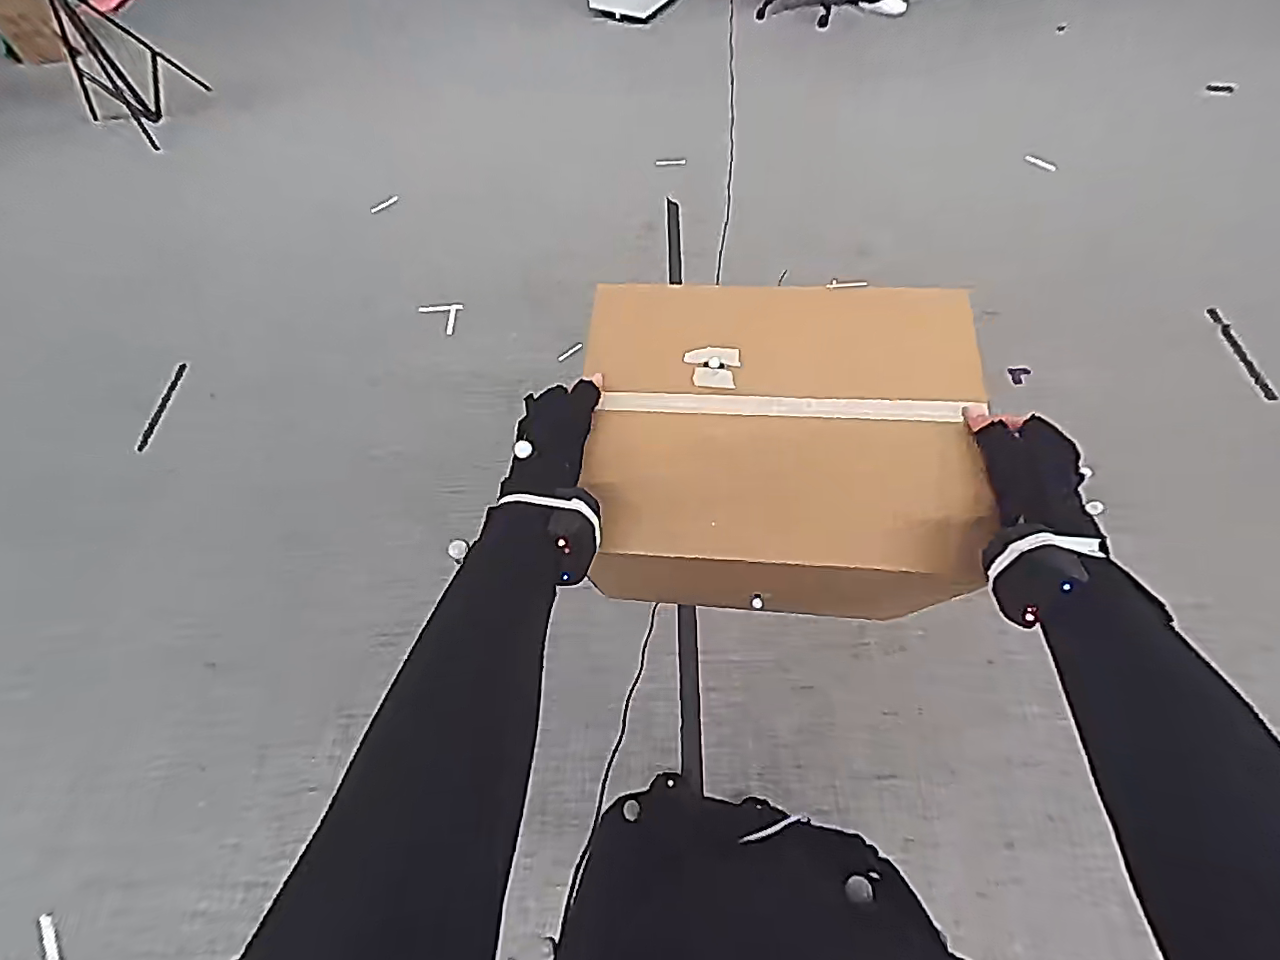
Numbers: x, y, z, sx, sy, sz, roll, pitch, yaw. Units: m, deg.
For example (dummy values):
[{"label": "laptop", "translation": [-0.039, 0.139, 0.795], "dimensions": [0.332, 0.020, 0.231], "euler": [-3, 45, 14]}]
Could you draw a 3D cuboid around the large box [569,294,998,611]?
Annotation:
[{"label": "large box", "translation": [0.155, -0.013, 0.697], "dimensions": [0.408, 0.320, 0.320], "euler": [3, 68, 8]}]
